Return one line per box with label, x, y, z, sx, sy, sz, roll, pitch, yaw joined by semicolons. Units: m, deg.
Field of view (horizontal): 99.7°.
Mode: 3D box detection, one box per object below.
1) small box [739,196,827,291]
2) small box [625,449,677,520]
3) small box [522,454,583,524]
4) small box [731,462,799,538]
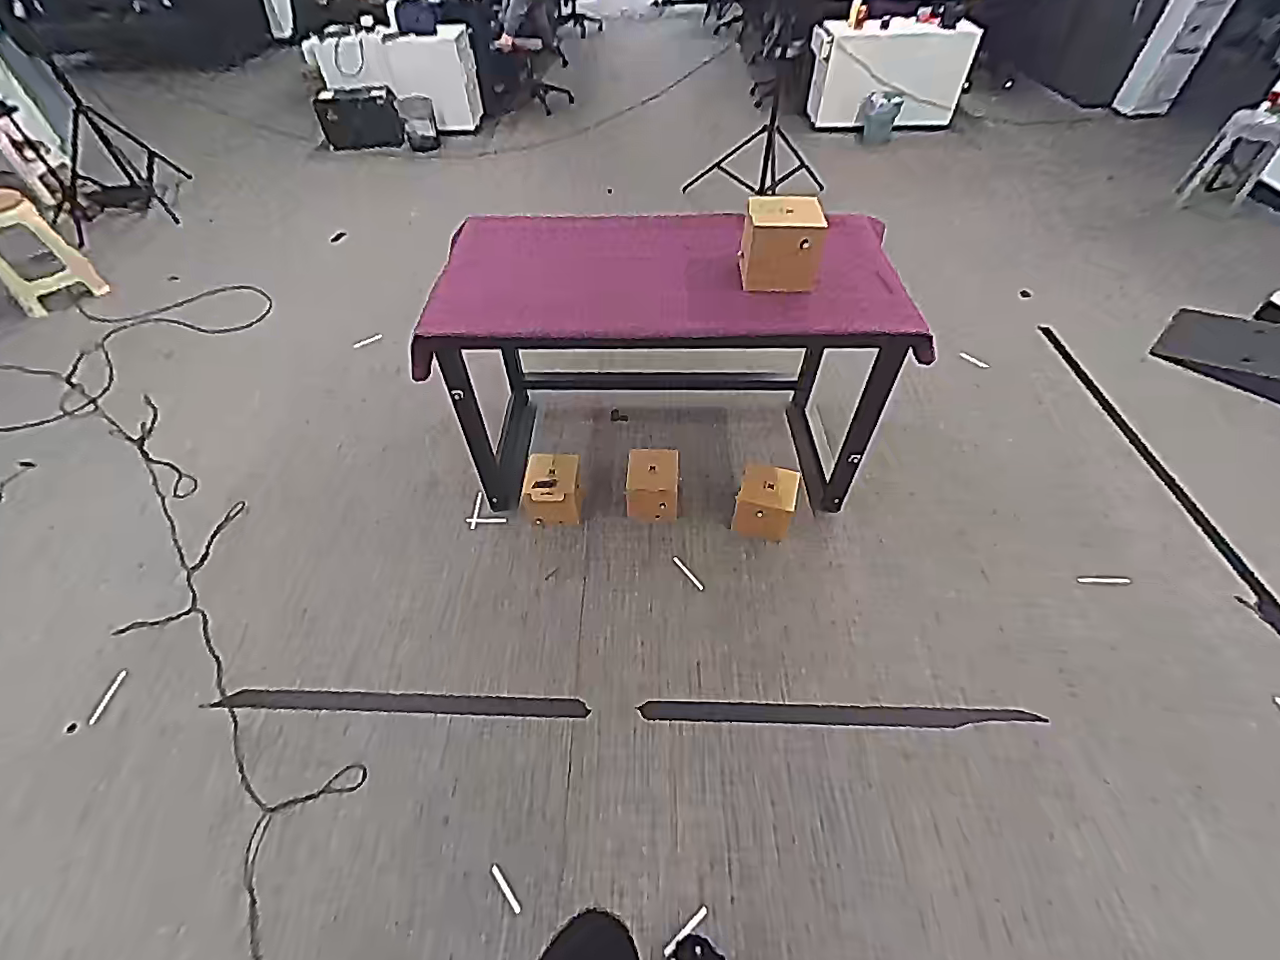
small box;0.353;-0.593;1.364;0.179;0.176;0.168;1;49;3
small box;0.040;0.018;1.811;0.168;0.176;0.179;2;49;2
small box;-0.284;0.033;1.801;0.168;0.176;0.179;1;49;2
small box;0.406;0.070;1.761;0.179;0.176;0.168;13;52;13
